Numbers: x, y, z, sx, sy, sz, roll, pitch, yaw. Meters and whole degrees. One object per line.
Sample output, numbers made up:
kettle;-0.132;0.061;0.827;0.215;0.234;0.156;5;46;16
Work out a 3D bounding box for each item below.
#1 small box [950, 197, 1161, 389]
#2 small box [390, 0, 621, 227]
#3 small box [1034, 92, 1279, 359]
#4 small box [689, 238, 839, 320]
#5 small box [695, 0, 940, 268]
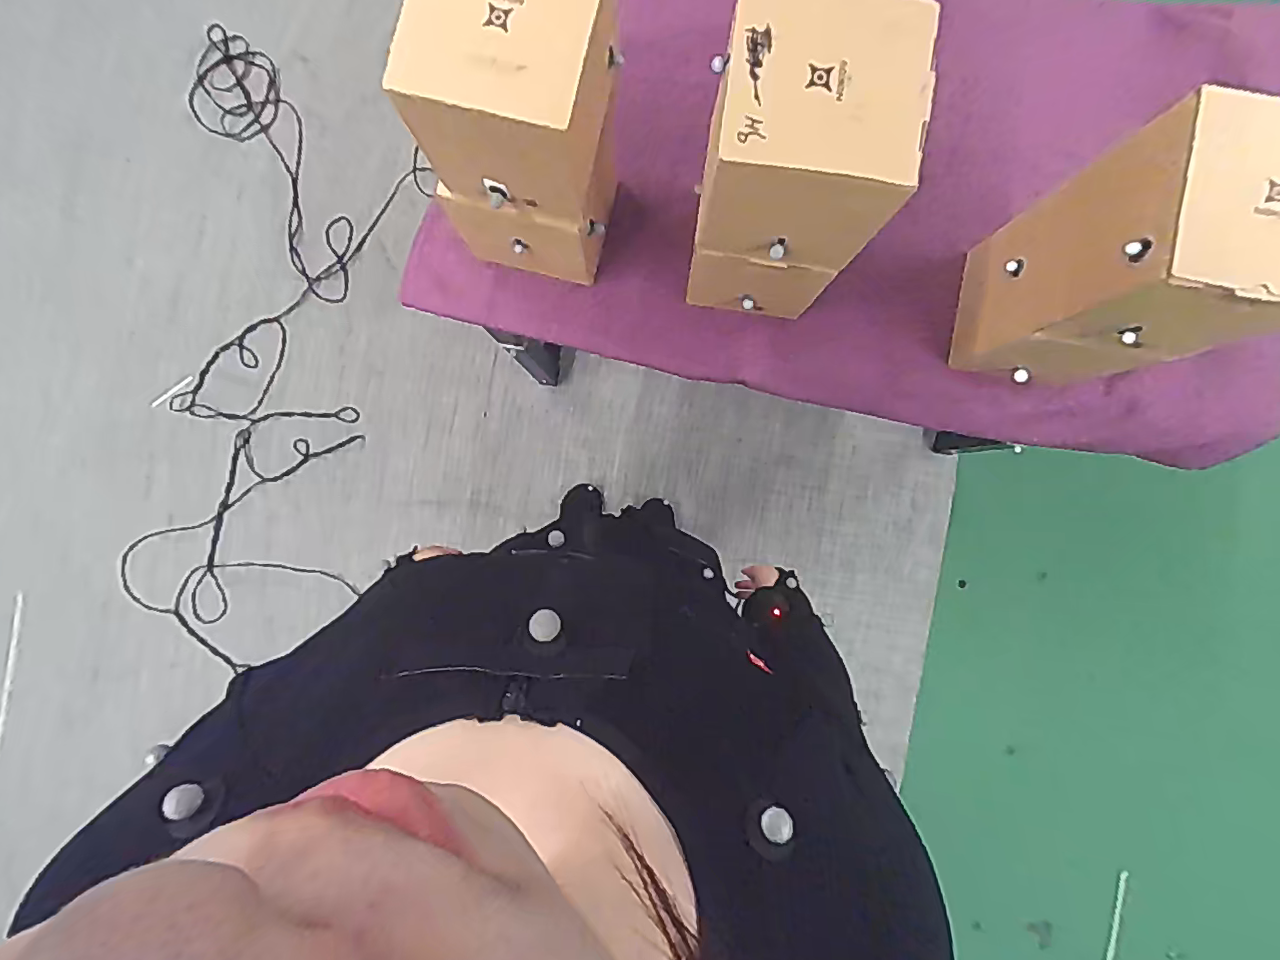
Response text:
small box;0.544;-0.233;0.714;0.168;0.176;0.179;10;89;0
small box;-0.117;-0.392;0.544;0.168;0.176;0.179;13;89;1
small box;0.548;-0.240;0.552;0.168;0.176;0.179;10;89;0
small box;0.161;-0.332;0.710;0.168;0.176;0.179;9;89;0
small box;0.162;-0.334;0.546;0.179;0.176;0.168;8;88;-1
